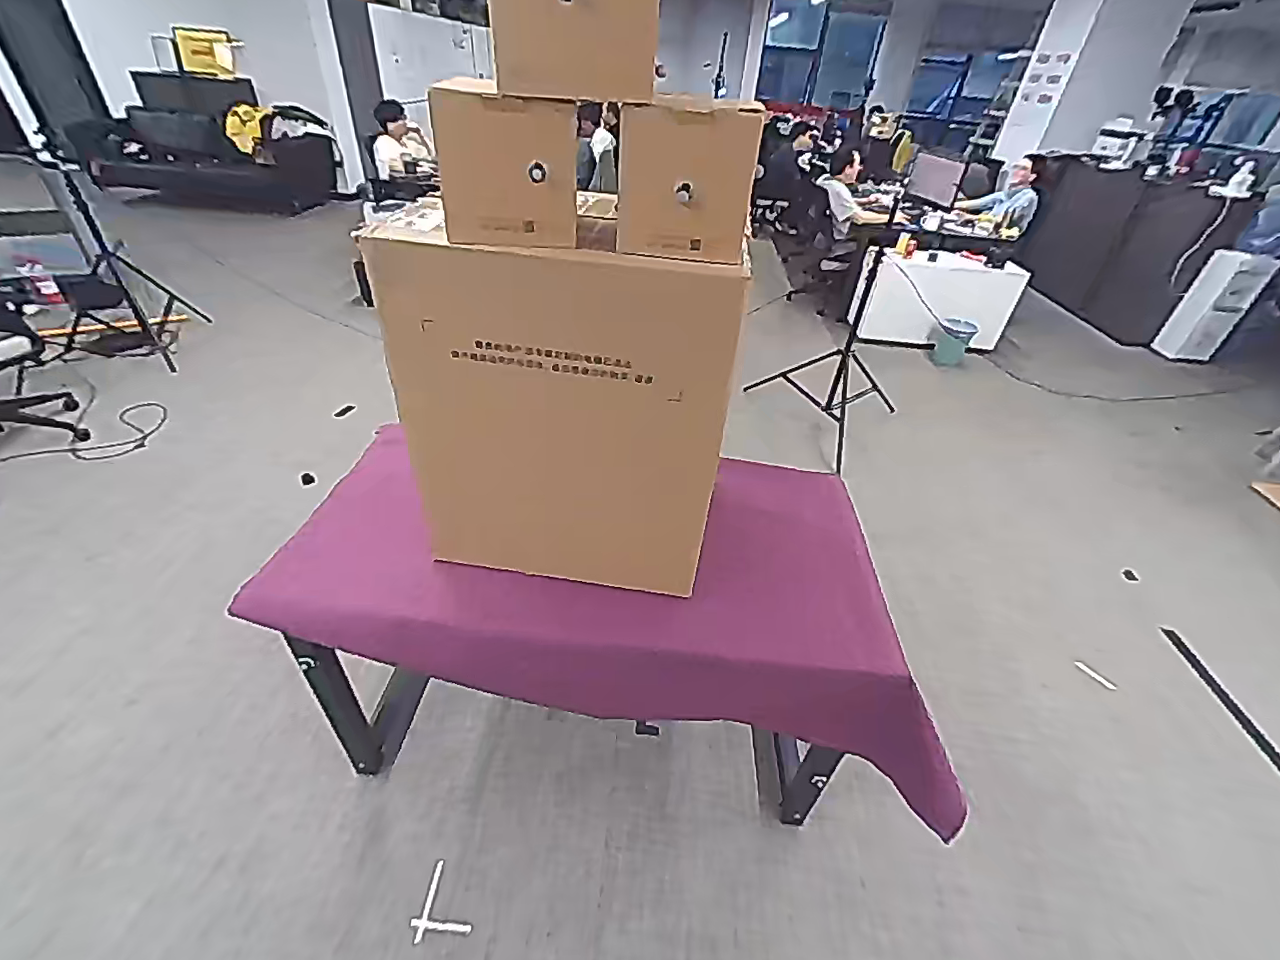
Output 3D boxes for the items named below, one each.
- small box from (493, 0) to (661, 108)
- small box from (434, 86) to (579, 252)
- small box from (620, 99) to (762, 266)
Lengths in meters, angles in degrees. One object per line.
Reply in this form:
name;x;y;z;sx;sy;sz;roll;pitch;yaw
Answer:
small box;-0.066;-0.533;0.619;0.179;0.176;0.168;1;39;-2
small box;-0.166;-0.417;0.729;0.168;0.176;0.179;1;37;-8
small box;0.067;-0.402;0.730;0.168;0.176;0.179;8;39;4
